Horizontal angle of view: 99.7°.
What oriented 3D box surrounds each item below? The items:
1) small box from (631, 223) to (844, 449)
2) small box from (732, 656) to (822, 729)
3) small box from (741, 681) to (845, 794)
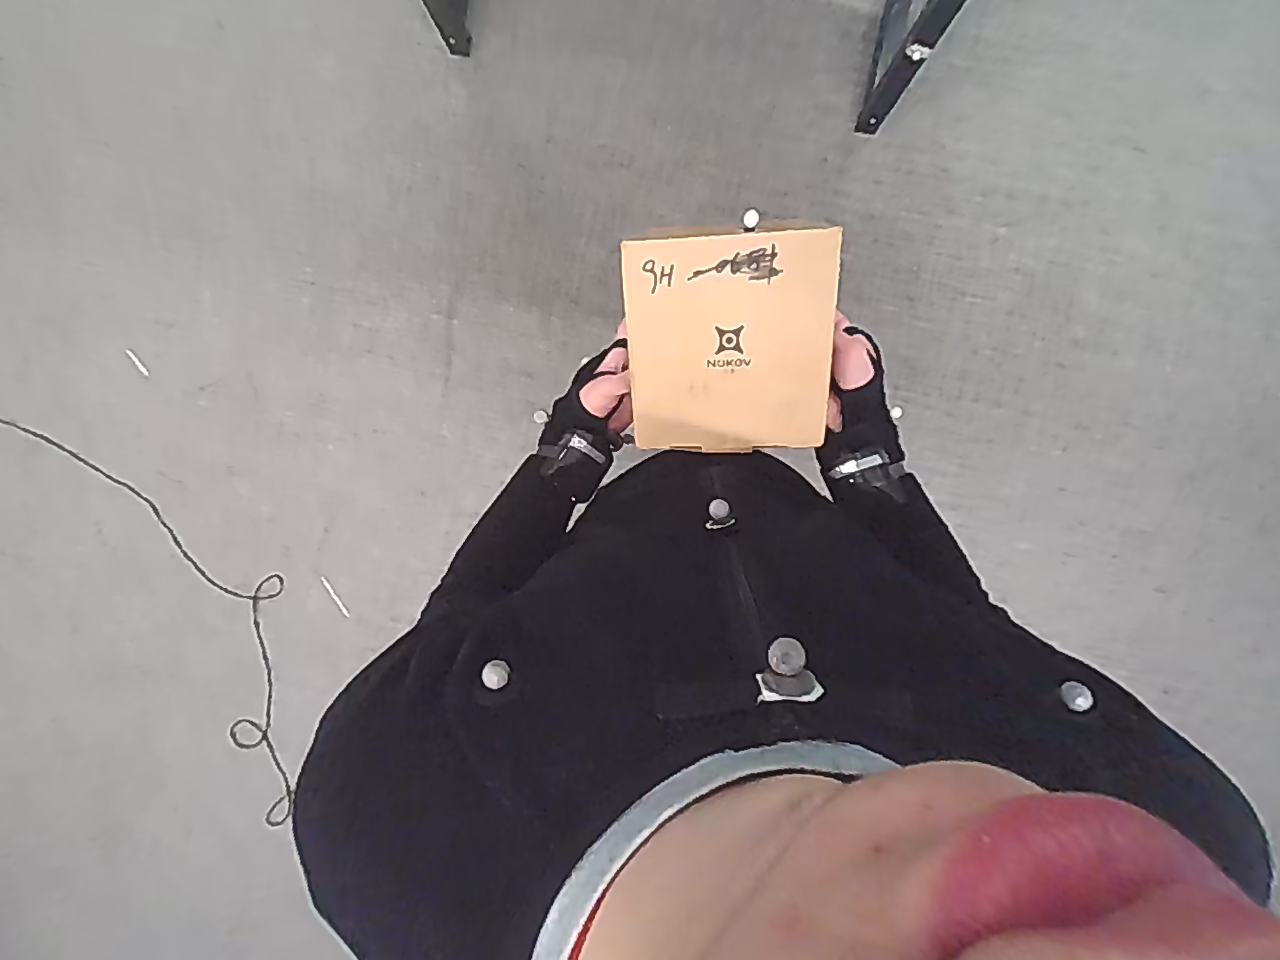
[{"bbox_3d":[0.086,-0.144,0.524,0.168,0.176,0.179,0,118,6],"label":"small box"},{"bbox_3d":[0.380,0.628,1.534,0.179,0.176,0.168,24,93,0],"label":"small box"},{"bbox_3d":[0.378,0.640,1.370,0.179,0.176,0.168,26,93,-1],"label":"small box"}]
